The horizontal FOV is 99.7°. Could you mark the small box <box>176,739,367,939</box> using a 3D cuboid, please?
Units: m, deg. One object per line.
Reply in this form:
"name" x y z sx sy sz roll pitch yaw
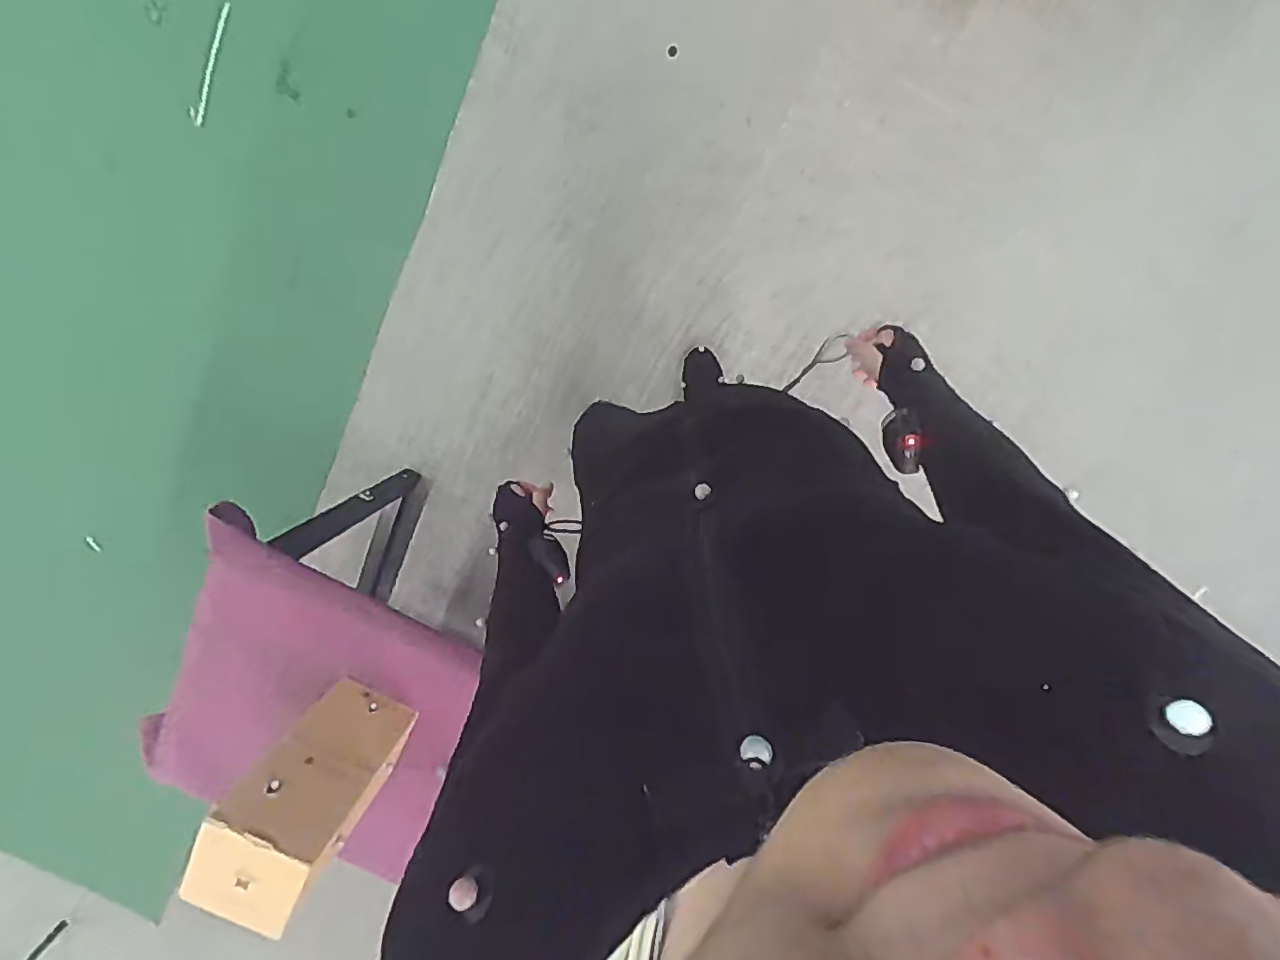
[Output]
"small box" -0.567 0.554 0.856 0.168 0.176 0.179 27 106 -2
